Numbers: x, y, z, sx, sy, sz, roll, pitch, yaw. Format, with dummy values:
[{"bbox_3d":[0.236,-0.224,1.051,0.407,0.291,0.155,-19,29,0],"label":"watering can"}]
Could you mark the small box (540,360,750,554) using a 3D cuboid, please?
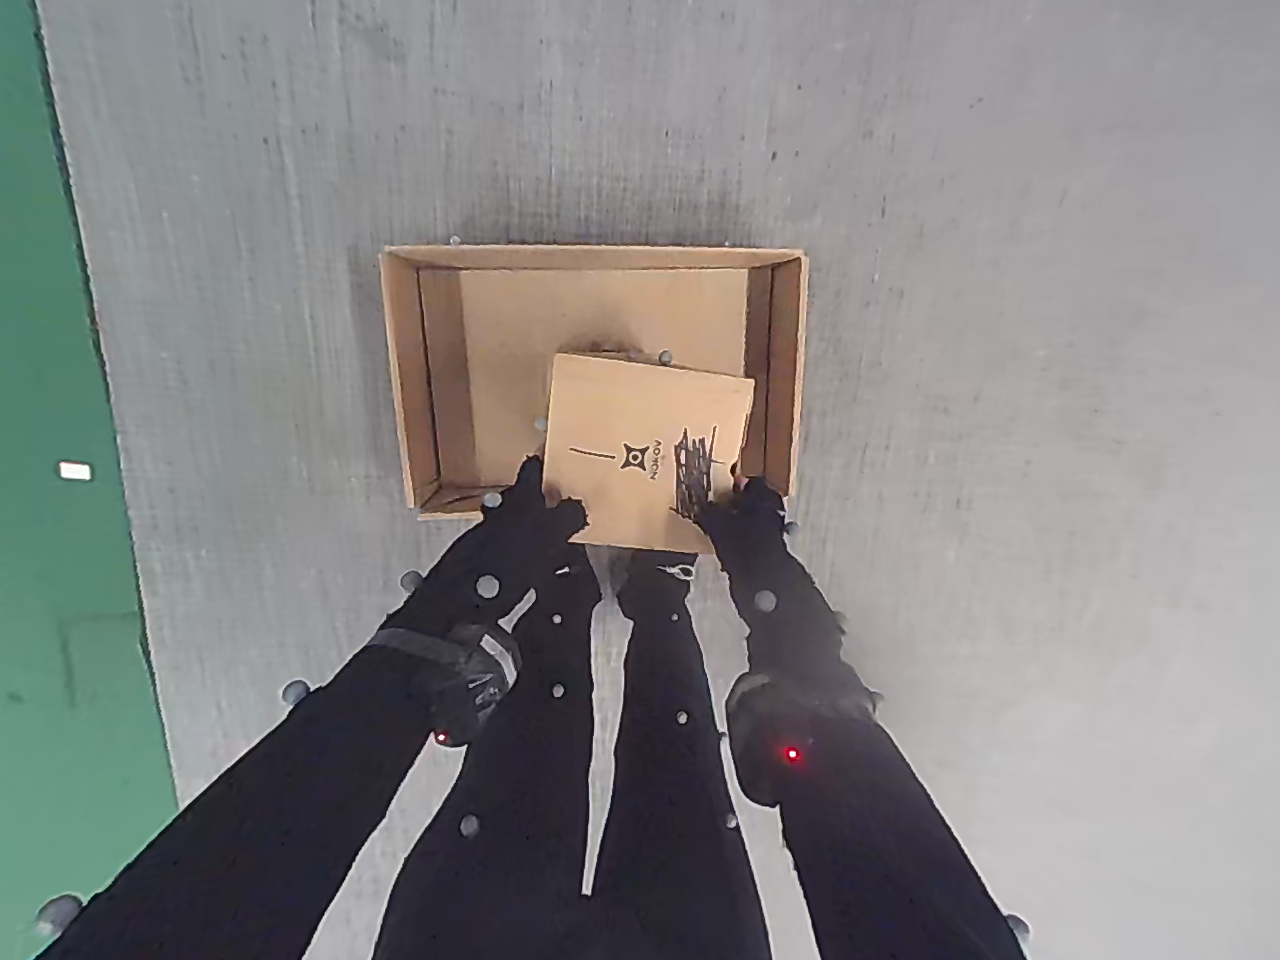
[{"bbox_3d":[-0.005,-0.033,0.573,0.179,0.176,0.168,7,102,-8],"label":"small box"}]
